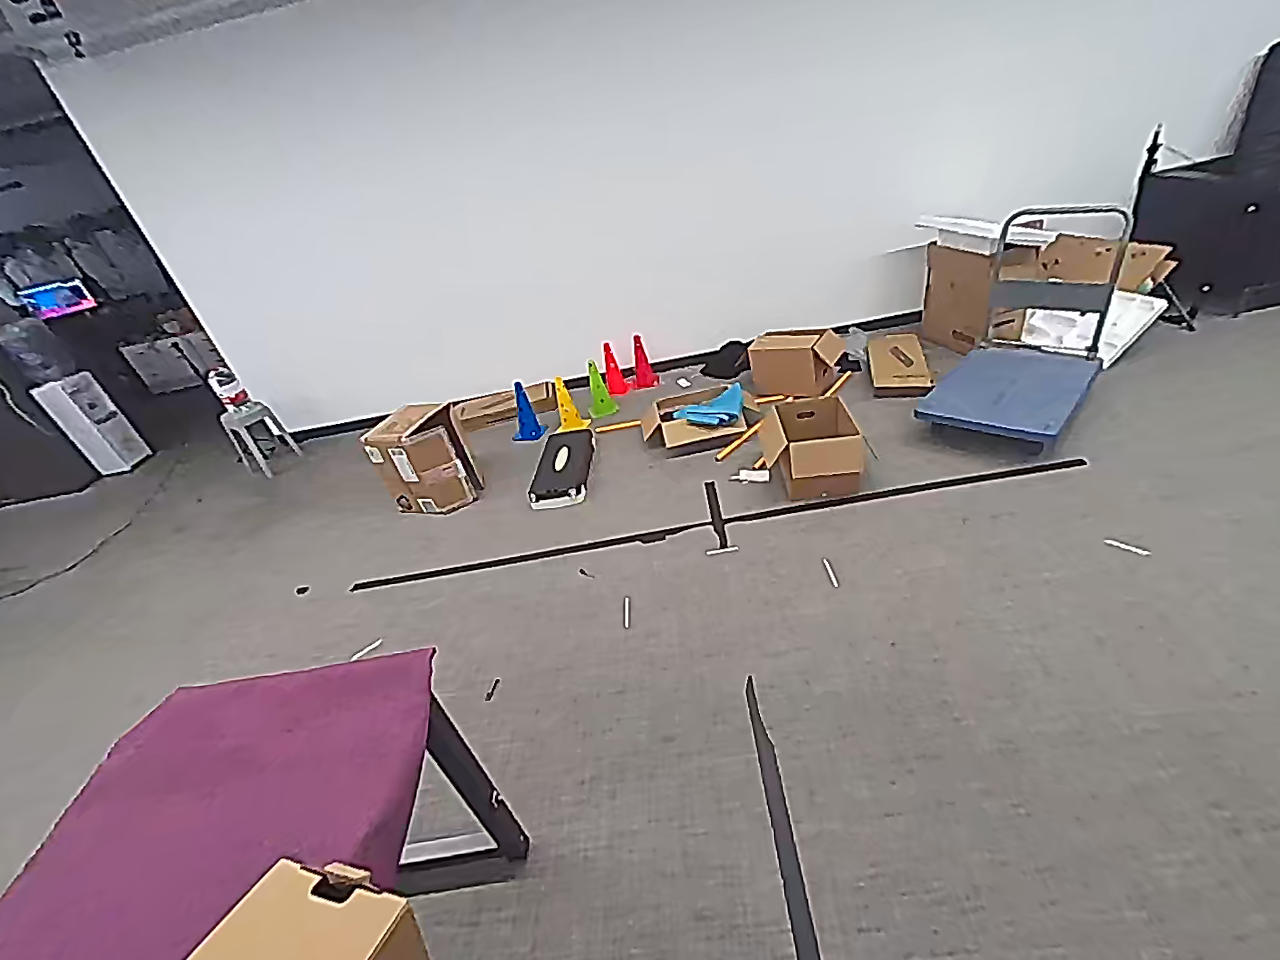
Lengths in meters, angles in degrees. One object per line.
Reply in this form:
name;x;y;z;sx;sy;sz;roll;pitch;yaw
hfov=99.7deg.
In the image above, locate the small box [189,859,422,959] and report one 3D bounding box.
small box;-0.307;0.495;0.479;0.168;0.176;0.179;1;20;19
